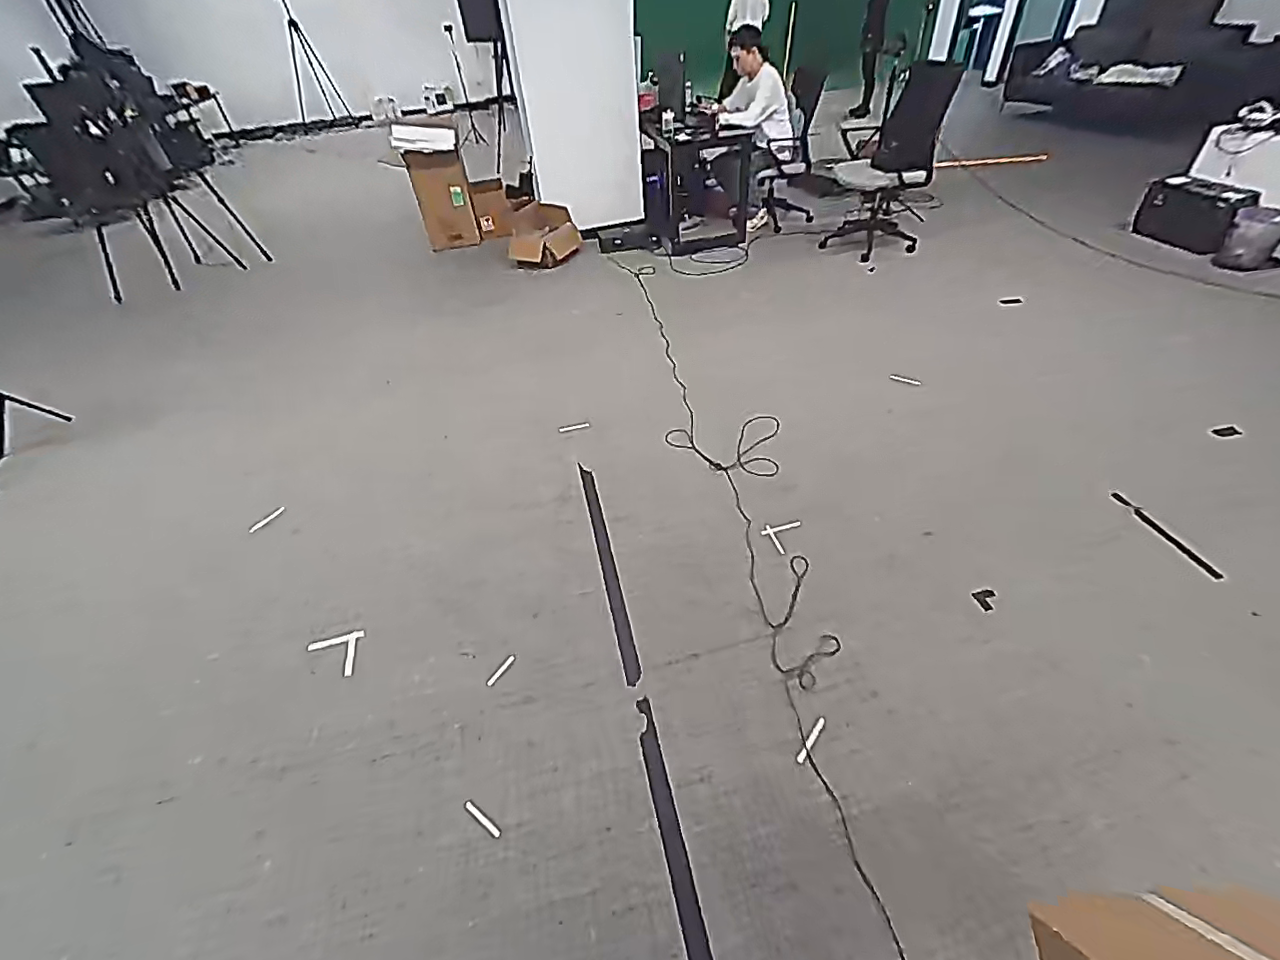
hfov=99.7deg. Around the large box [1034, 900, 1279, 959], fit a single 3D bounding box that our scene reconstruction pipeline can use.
[{"bbox_3d":[0.686,0.673,0.510,0.320,0.408,0.320,-6,74,4],"label":"large box"}]
